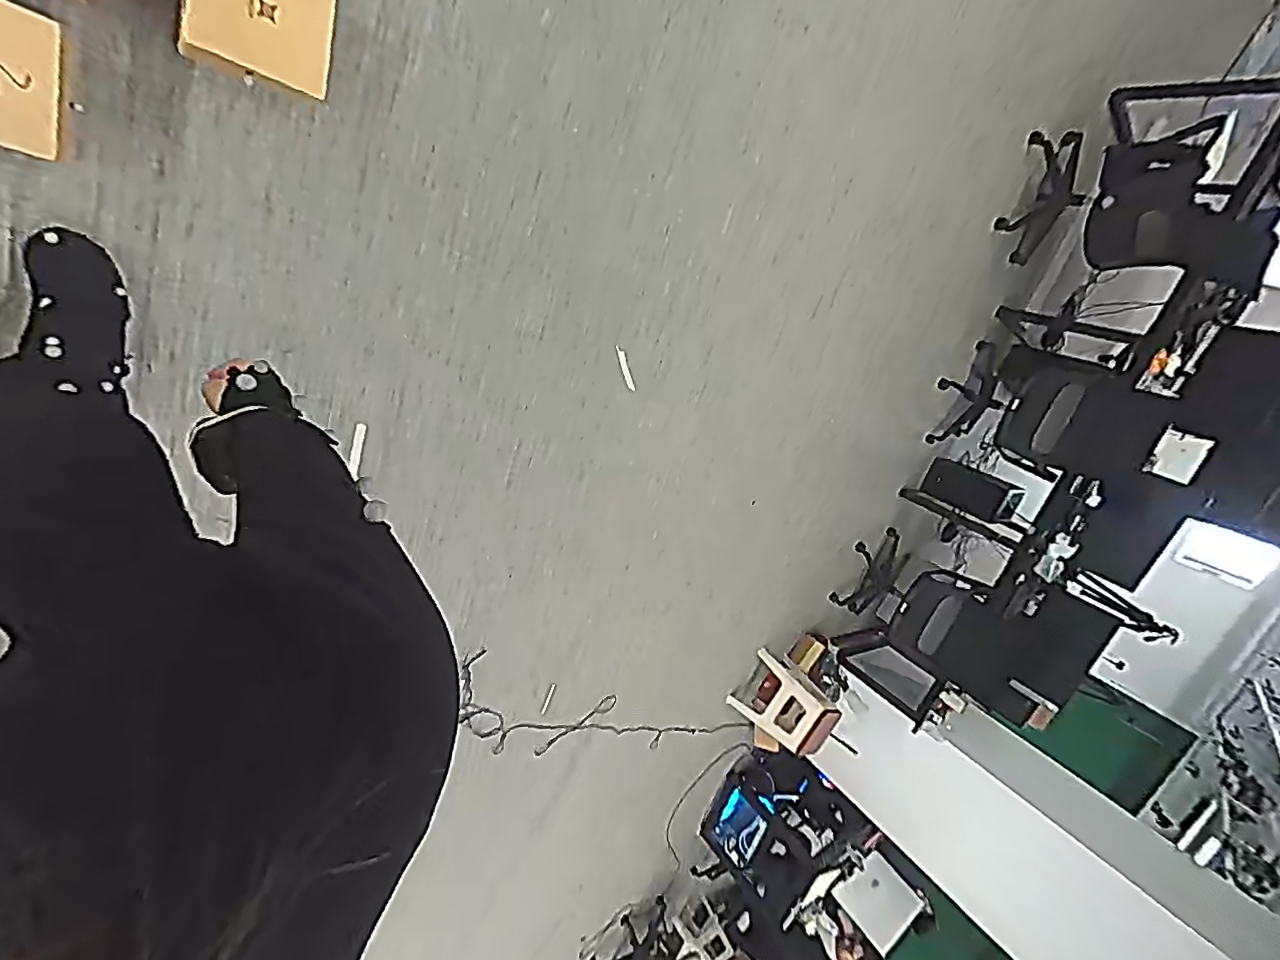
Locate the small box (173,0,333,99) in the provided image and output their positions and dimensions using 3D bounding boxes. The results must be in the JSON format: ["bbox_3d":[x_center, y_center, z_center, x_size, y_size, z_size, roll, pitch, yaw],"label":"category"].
[{"bbox_3d":[-0.592,-0.713,0.825,0.179,0.176,0.168,2,114,-42],"label":"small box"}]
